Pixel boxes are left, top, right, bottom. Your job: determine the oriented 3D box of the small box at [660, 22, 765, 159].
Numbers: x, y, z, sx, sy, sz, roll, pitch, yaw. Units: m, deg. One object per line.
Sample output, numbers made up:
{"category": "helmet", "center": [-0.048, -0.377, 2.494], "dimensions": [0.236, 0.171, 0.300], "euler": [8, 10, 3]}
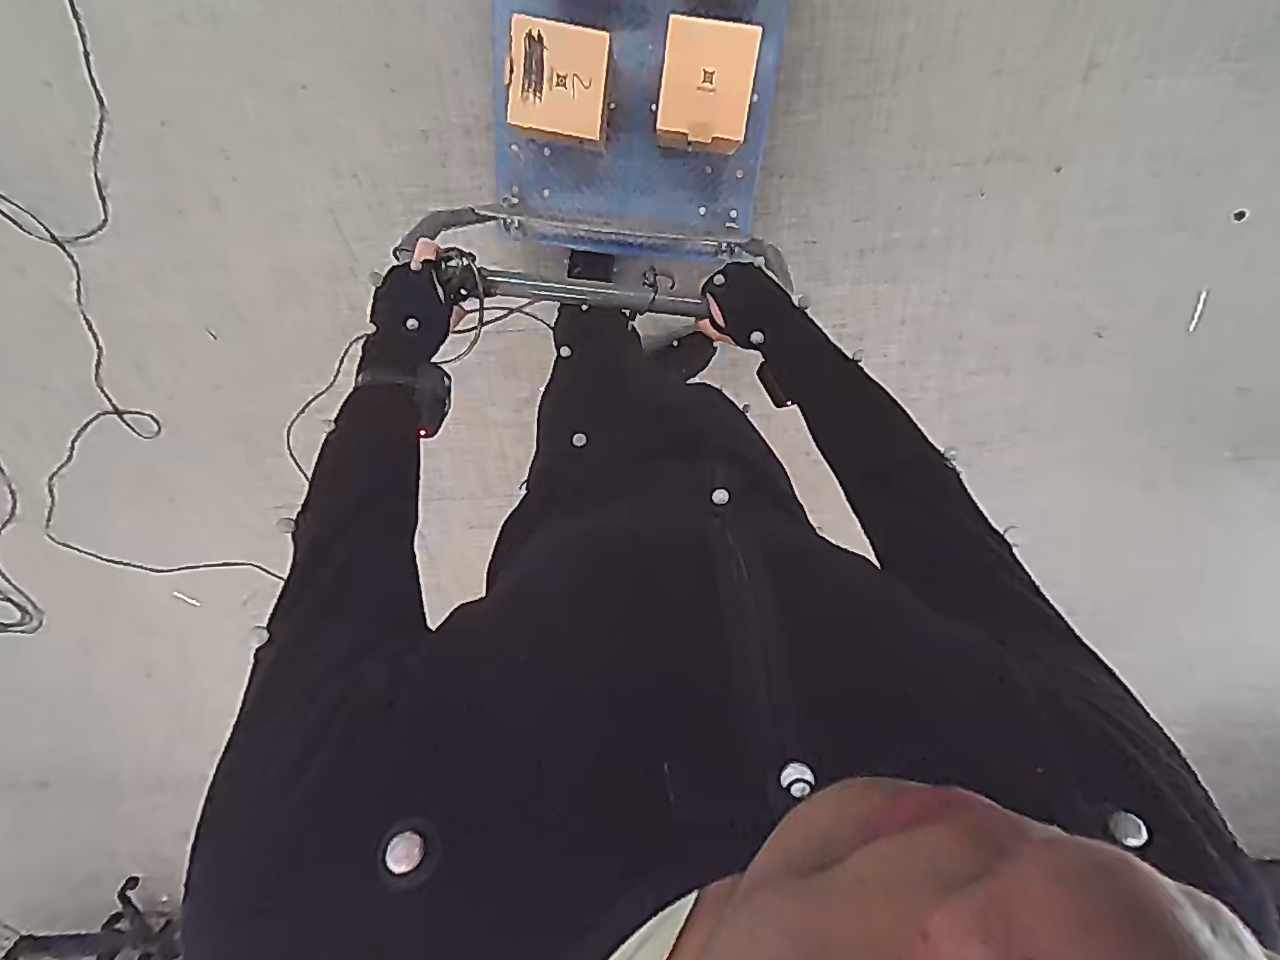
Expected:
{"category": "small box", "center": [0.130, -0.742, 1.049], "dimensions": [0.168, 0.176, 0.179], "euler": [7, 115, -1]}
